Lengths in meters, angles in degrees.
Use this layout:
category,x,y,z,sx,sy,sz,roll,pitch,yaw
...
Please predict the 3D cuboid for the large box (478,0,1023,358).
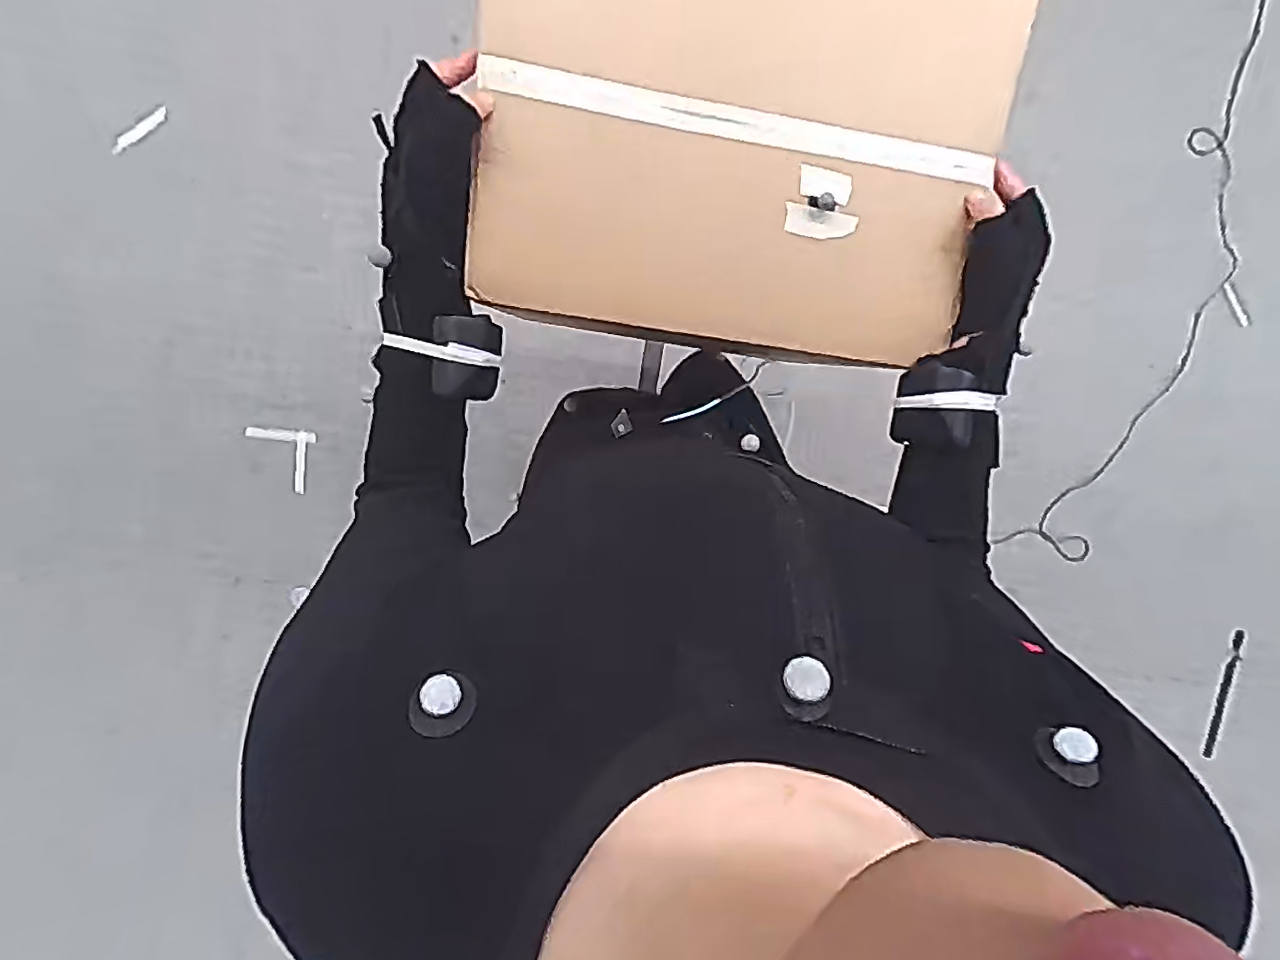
category,x,y,z,sx,sy,sz,roll,pitch,yaw
large box,0.068,-0.313,0.564,0.408,0.320,0.320,7,104,-8
